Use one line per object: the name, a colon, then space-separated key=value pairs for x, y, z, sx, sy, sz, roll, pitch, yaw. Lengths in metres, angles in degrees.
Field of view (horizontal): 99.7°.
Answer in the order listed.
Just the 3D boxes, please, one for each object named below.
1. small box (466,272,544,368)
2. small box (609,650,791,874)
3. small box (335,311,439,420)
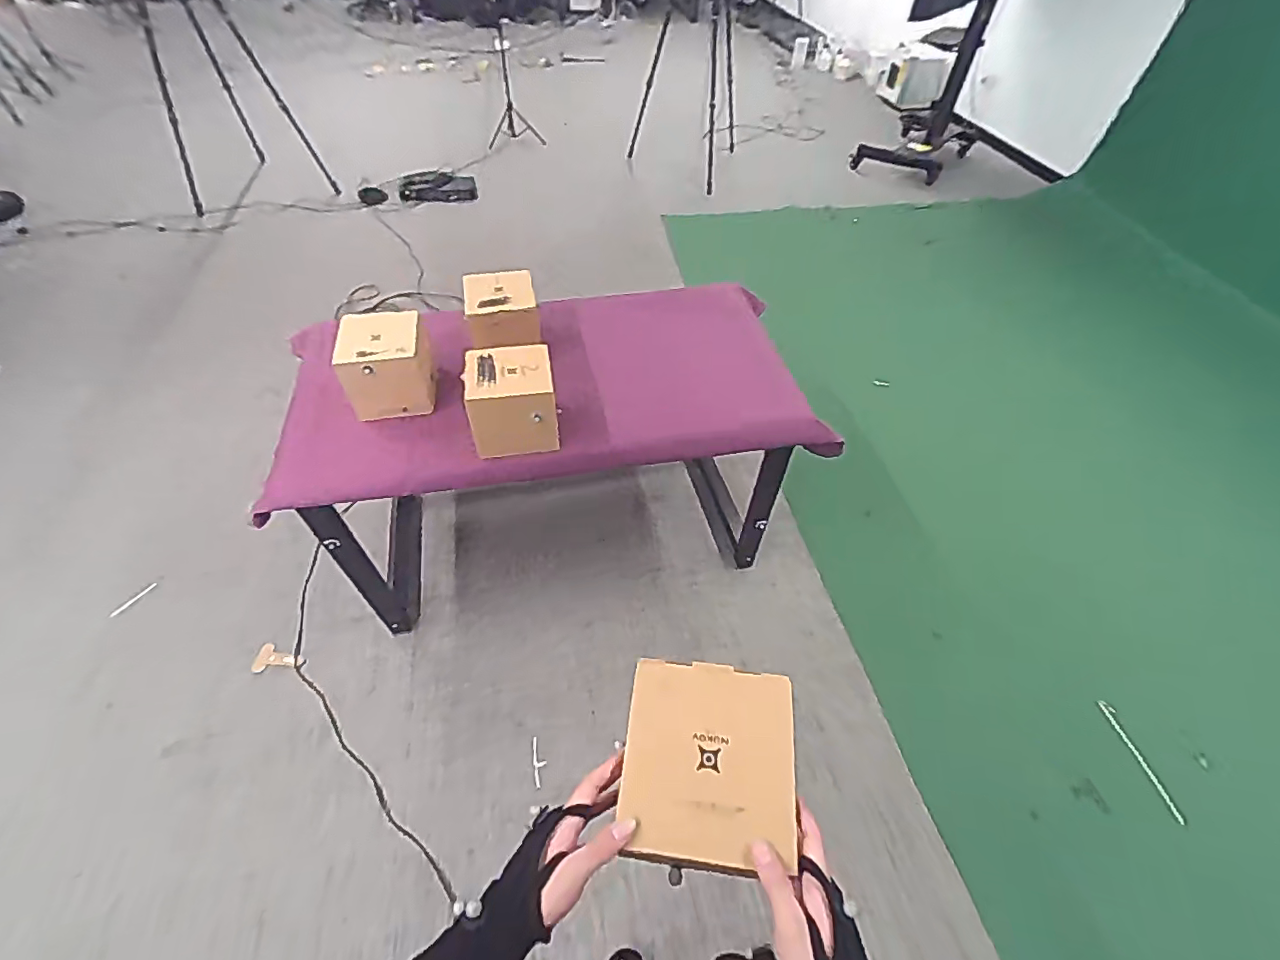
small box: x=-0.339 y=-0.399 z=1.370 sx=0.168 sy=0.176 sz=0.179 roll=-9 pitch=51 yaw=-10
small box: x=0.063 y=0.310 z=0.592 sx=0.168 sy=0.176 sz=0.179 roll=6 pitch=53 yaw=5
small box: x=-0.570 y=-0.263 z=1.243 sx=0.168 sy=0.176 sz=0.179 roll=-8 pitch=51 yaw=-8
